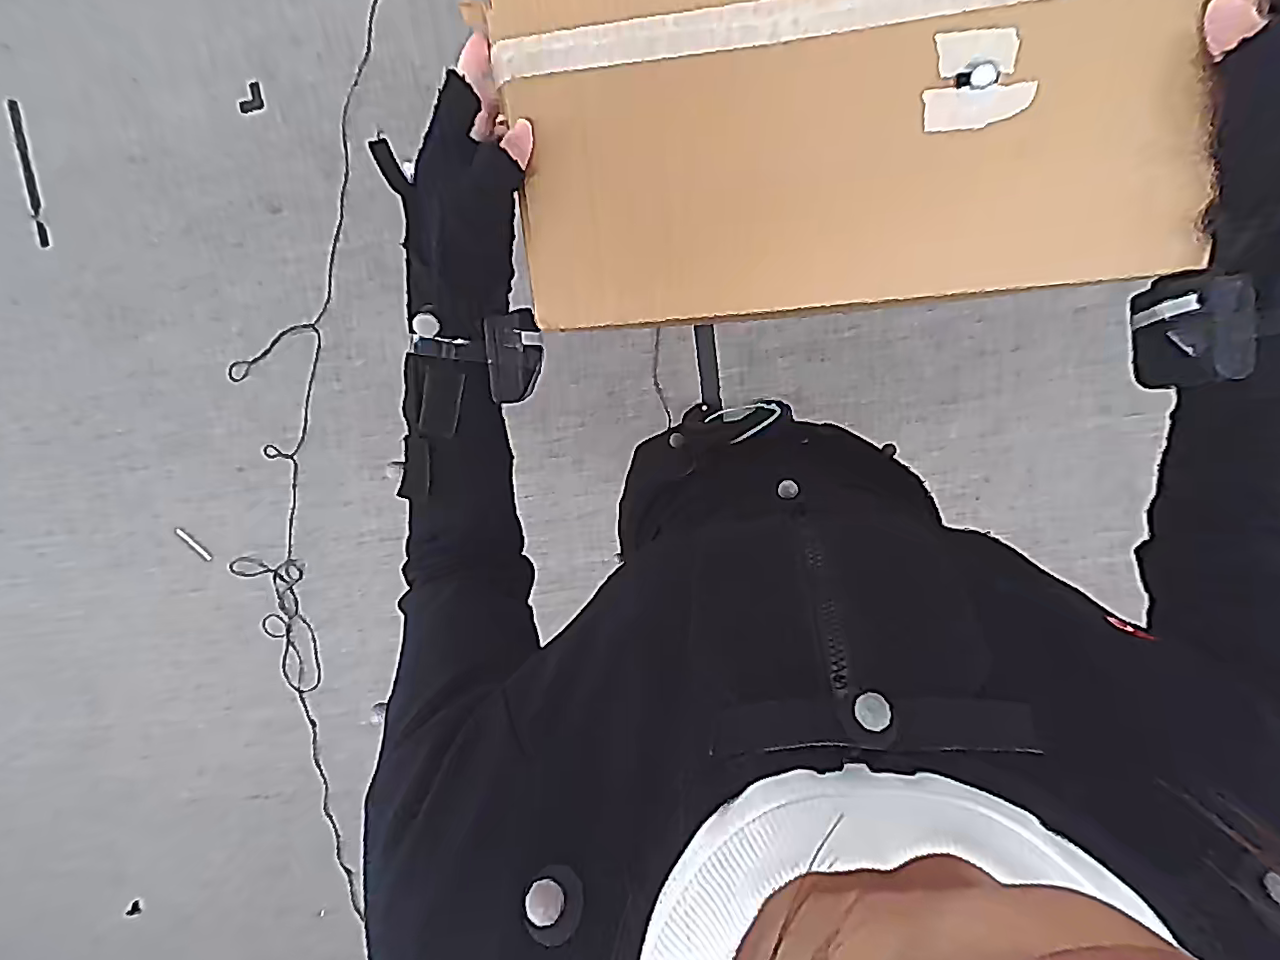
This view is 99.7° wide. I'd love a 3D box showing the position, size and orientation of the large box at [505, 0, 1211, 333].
[{"bbox_3d":[0.128,-0.305,0.461,0.408,0.320,0.320,-4,105,5],"label":"large box"}]
